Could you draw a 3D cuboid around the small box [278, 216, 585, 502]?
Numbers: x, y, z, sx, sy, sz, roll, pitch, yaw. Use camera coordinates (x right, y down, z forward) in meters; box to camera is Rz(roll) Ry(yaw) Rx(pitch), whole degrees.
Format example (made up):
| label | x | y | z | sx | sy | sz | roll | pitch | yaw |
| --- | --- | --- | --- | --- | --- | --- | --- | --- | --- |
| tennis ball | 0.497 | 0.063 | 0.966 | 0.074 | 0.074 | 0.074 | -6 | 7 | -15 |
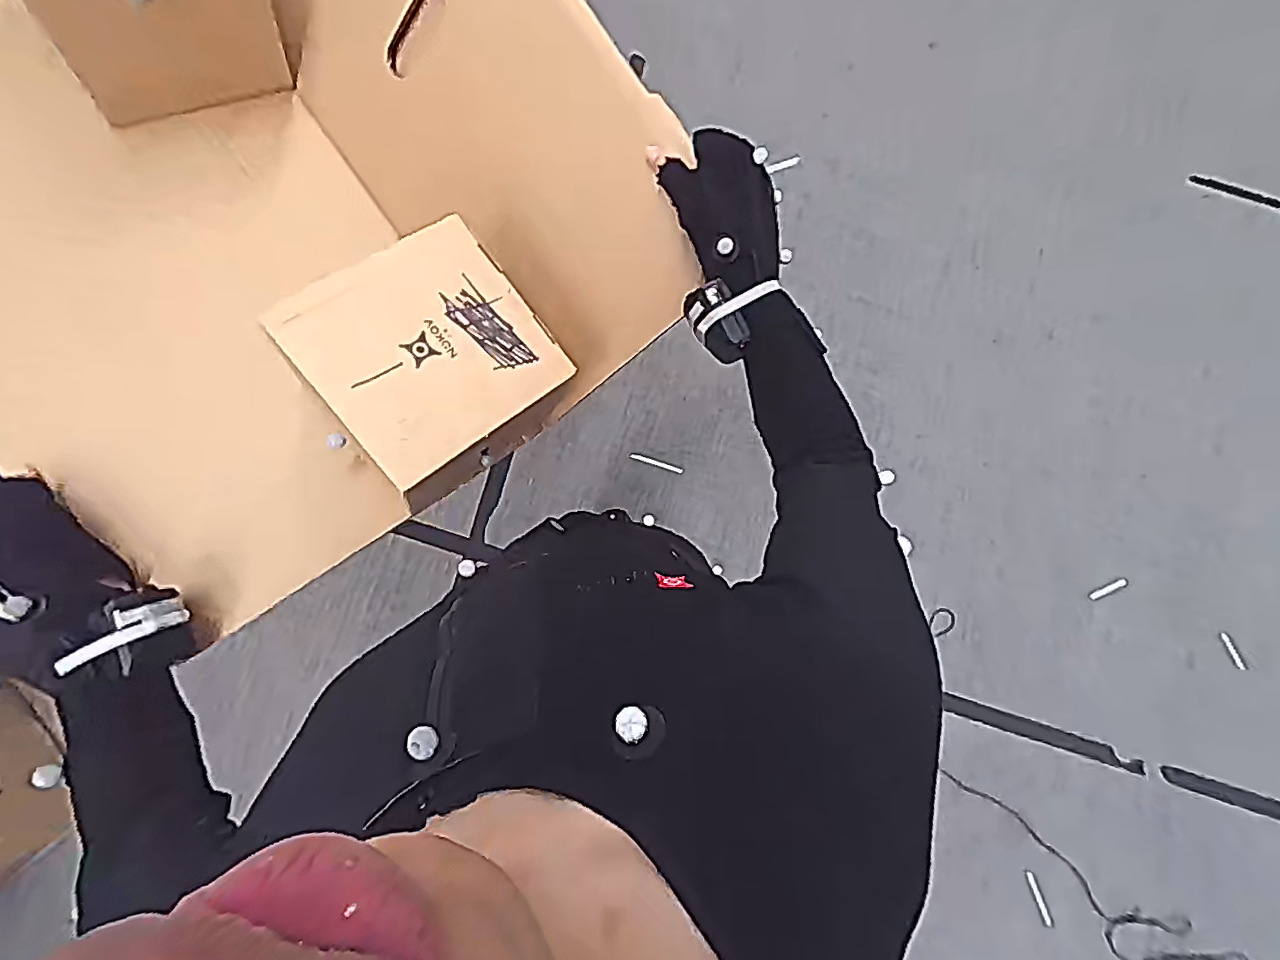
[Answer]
| label | x | y | z | sx | sy | sz | roll | pitch | yaw |
| --- | --- | --- | --- | --- | --- | --- | --- | --- | --- |
| small box | -0.184 | -0.097 | 0.502 | 0.179 | 0.176 | 0.168 | -39 | 96 | -21 |
